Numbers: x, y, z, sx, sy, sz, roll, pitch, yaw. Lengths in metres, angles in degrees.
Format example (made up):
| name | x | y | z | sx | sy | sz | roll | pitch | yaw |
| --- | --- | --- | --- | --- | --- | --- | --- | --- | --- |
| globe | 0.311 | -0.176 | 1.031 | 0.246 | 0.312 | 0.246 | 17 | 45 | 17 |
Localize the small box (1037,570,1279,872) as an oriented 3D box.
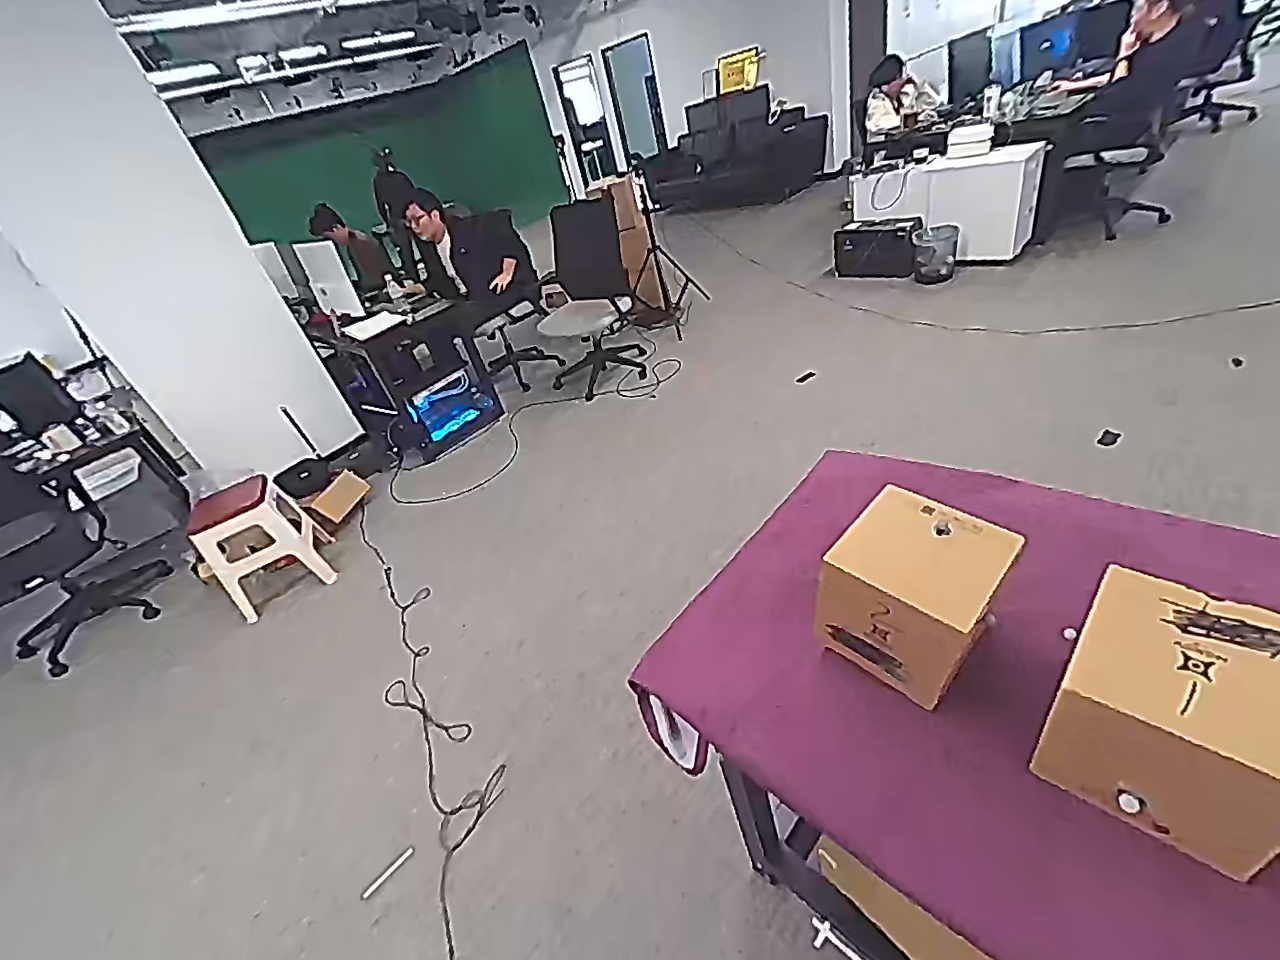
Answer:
| name | x | y | z | sx | sy | sz | roll | pitch | yaw |
| --- | --- | --- | --- | --- | --- | --- | --- | --- | --- |
| small box | 0.524 | 0.228 | 0.536 | 0.168 | 0.176 | 0.179 | 21 | 49 | 42 |
